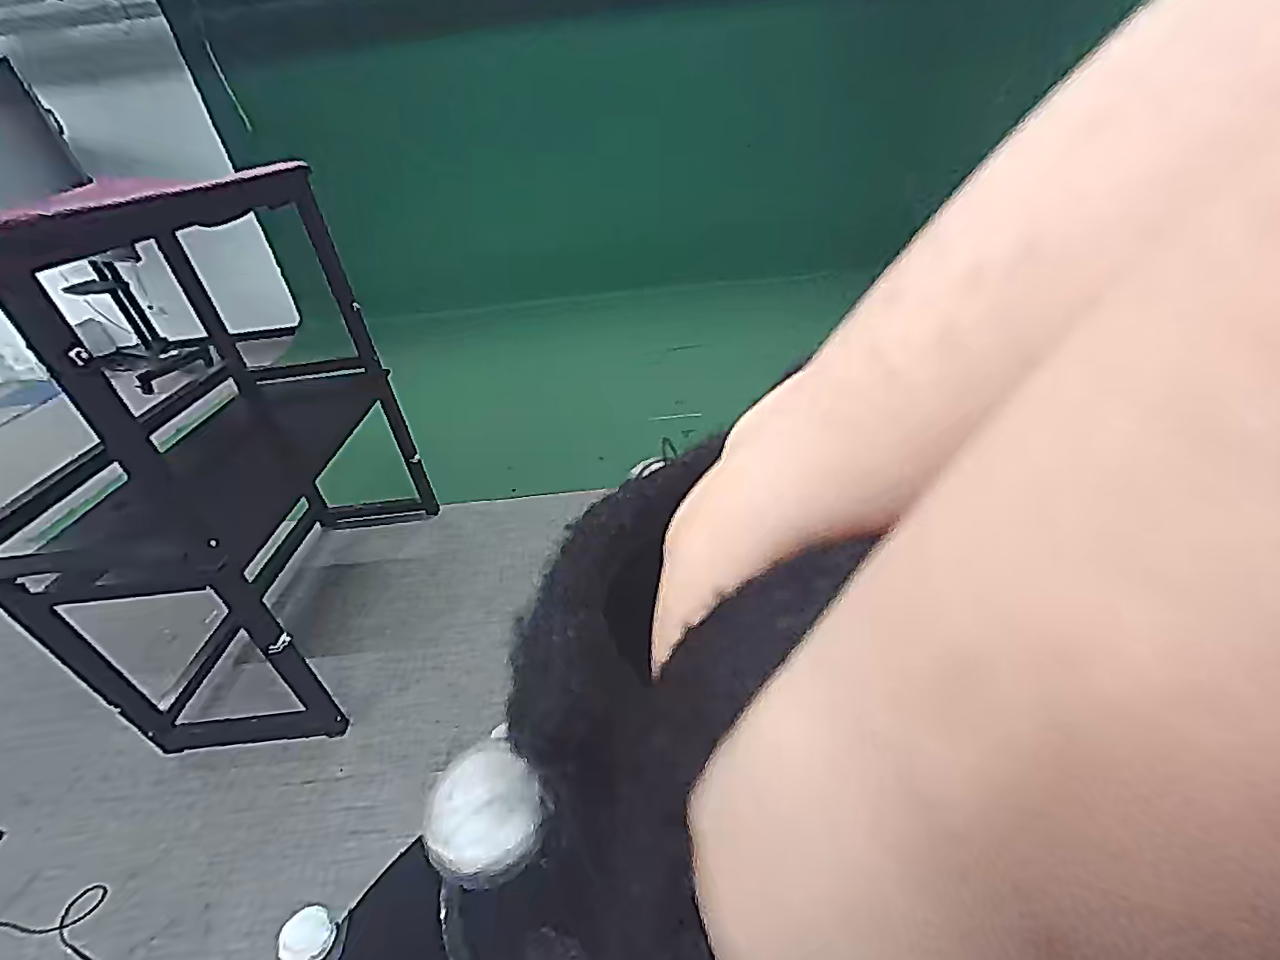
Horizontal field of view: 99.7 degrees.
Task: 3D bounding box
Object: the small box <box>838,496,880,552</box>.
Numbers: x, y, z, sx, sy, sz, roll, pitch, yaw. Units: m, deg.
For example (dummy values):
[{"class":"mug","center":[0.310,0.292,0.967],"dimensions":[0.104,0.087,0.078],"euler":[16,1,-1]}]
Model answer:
[{"class":"small box","center":[0.890,0.171,2.134],"dimensions":[0.179,0.176,0.168],"euler":[-4,35,6]}]
